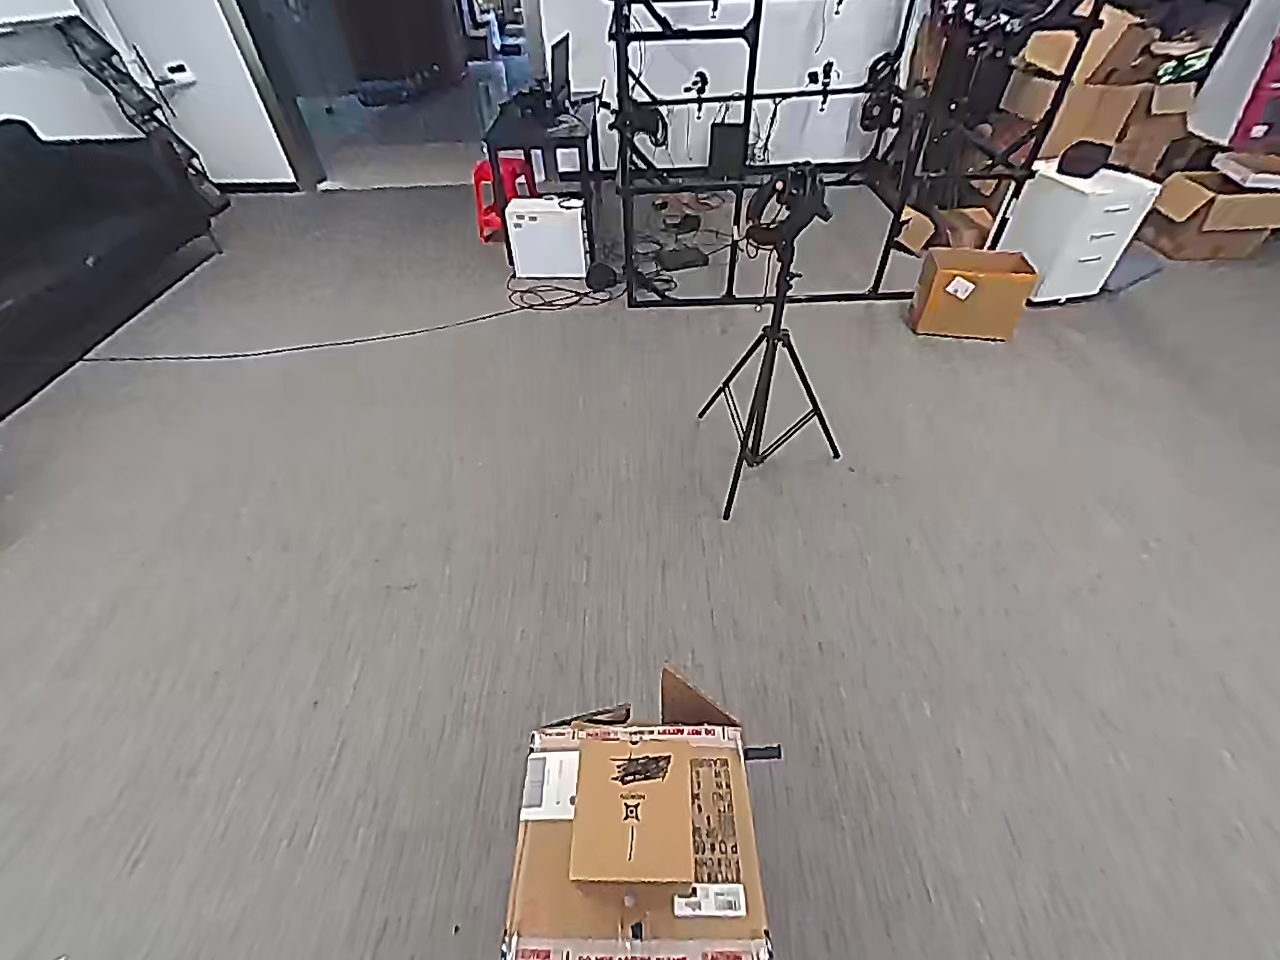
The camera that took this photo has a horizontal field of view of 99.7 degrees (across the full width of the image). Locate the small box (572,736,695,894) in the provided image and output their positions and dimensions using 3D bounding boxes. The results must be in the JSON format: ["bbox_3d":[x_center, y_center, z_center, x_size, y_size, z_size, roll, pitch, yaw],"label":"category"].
[{"bbox_3d":[-0.006,0.508,0.820,0.168,0.176,0.179,0,48,2],"label":"small box"}]
